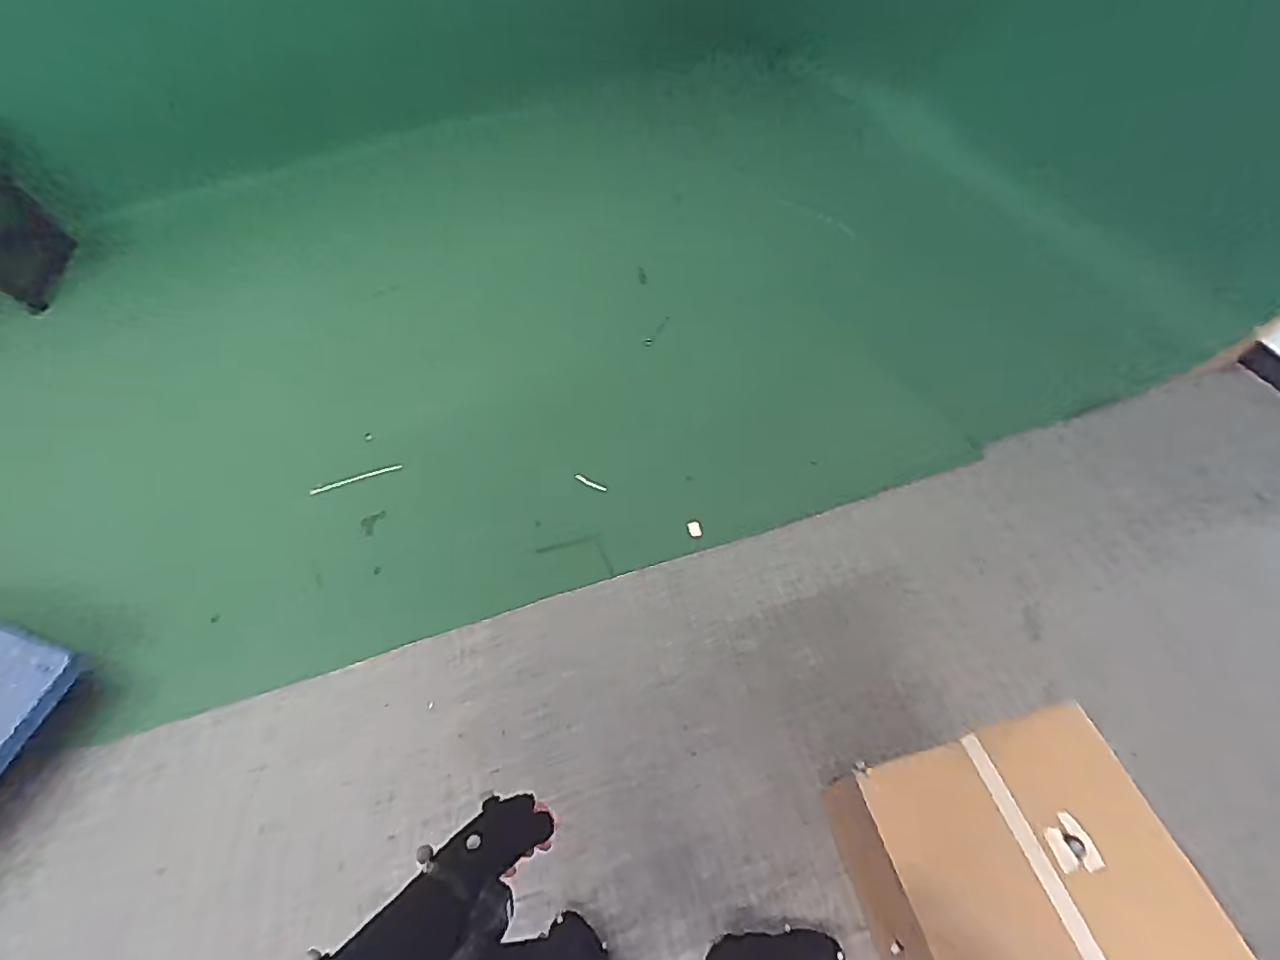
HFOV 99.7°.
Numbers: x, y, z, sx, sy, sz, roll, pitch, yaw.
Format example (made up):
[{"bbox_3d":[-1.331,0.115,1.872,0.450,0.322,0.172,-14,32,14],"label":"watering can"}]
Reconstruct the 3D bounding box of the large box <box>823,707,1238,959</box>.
[{"bbox_3d":[0.487,0.580,0.719,0.320,0.320,0.408,-17,54,-1],"label":"large box"}]
